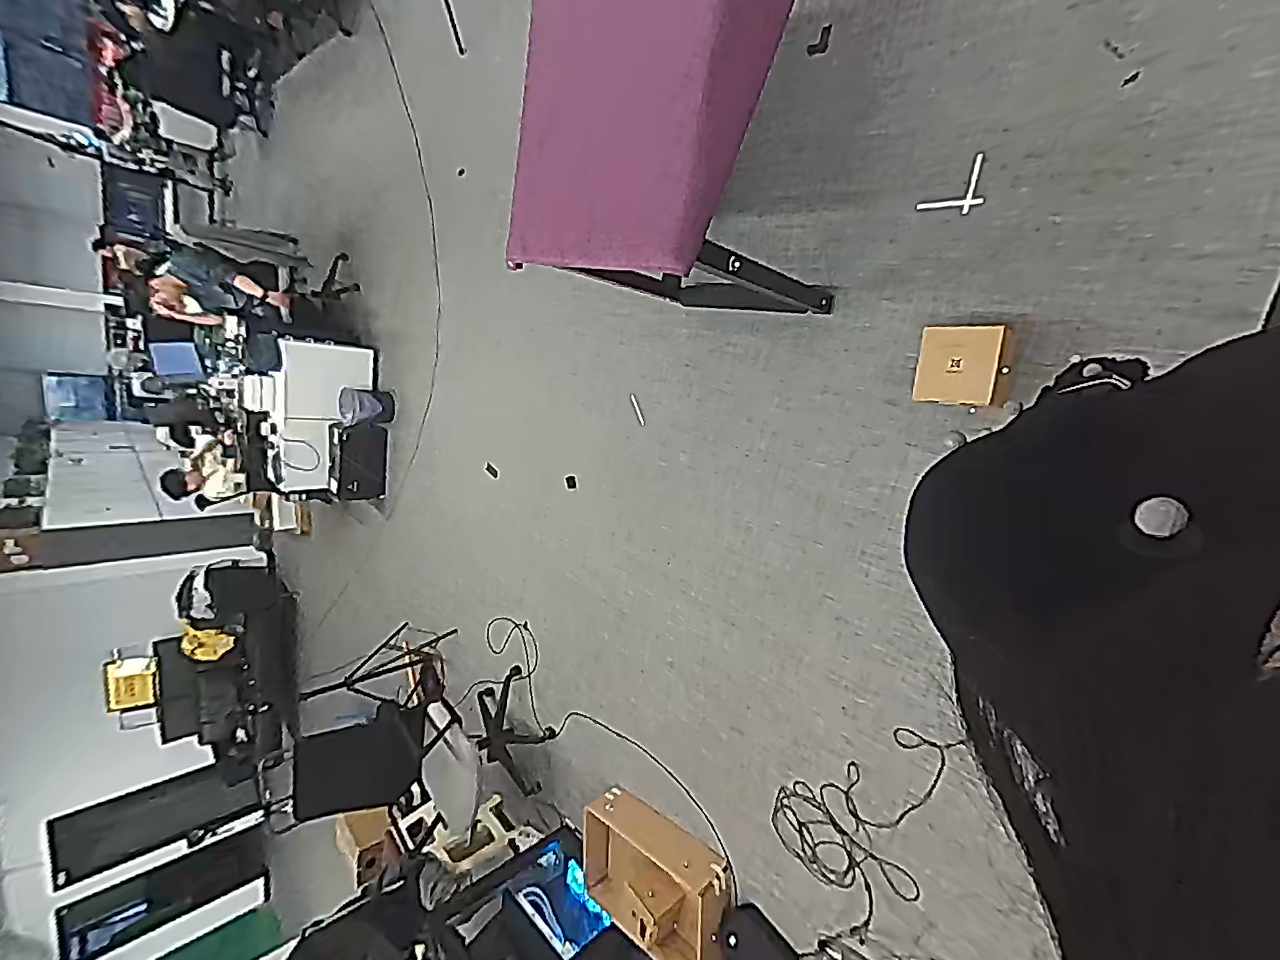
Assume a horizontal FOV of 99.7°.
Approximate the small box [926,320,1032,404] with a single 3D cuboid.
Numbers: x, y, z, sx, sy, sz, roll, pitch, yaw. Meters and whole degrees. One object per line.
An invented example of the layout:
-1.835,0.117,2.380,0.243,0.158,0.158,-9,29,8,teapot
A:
0.801,-0.273,1.274,0.168,0.176,0.179,13,101,43,small box
